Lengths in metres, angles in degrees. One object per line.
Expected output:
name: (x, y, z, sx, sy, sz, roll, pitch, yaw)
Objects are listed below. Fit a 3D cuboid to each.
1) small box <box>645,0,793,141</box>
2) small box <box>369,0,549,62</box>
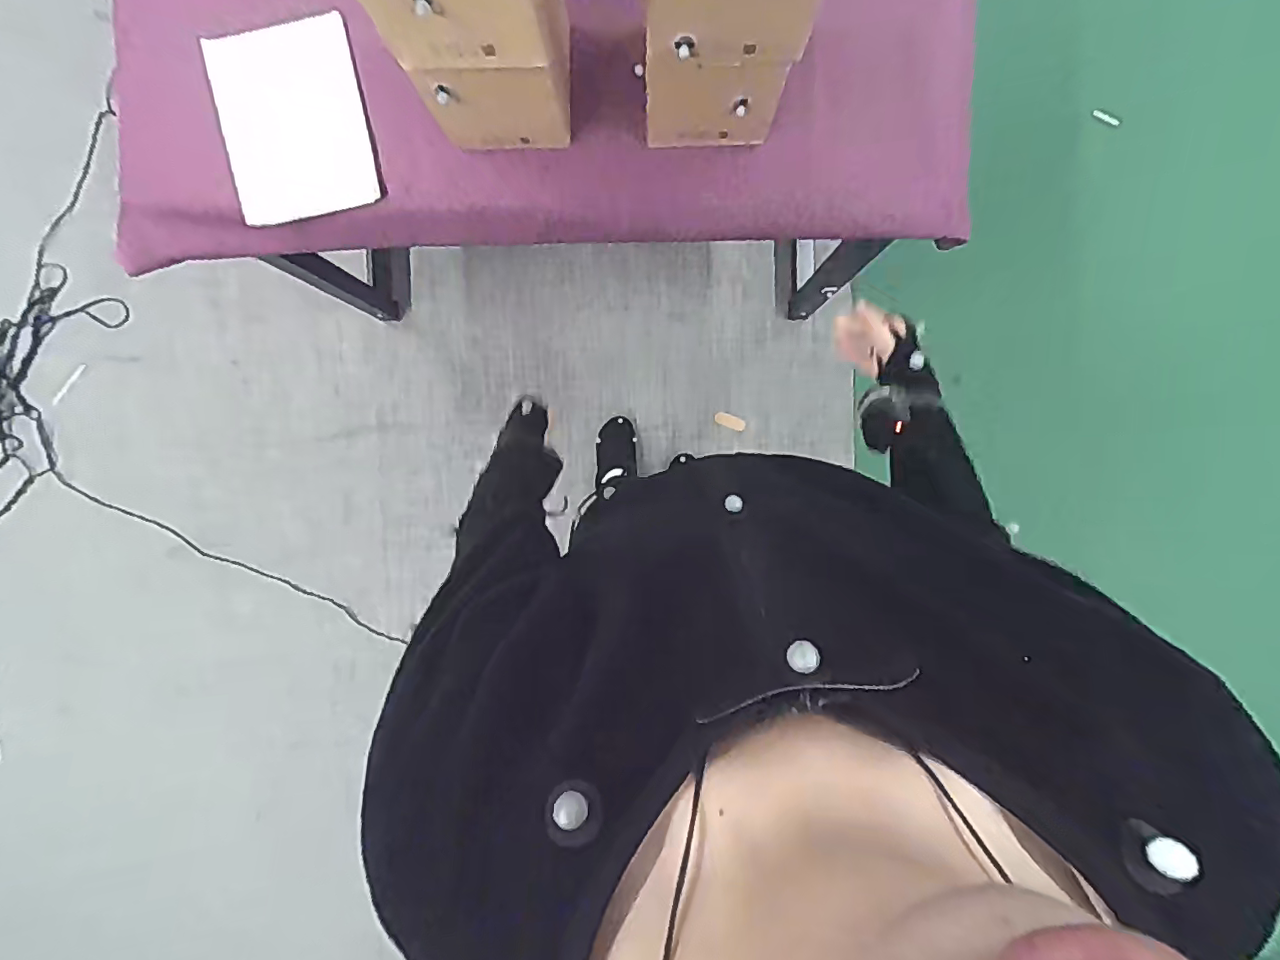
small box: (0.090, -0.558, 0.680, 0.168, 0.176, 0.179, 0, 91, 0)
small box: (-0.183, -0.545, 0.521, 0.168, 0.176, 0.179, 0, 91, 1)
